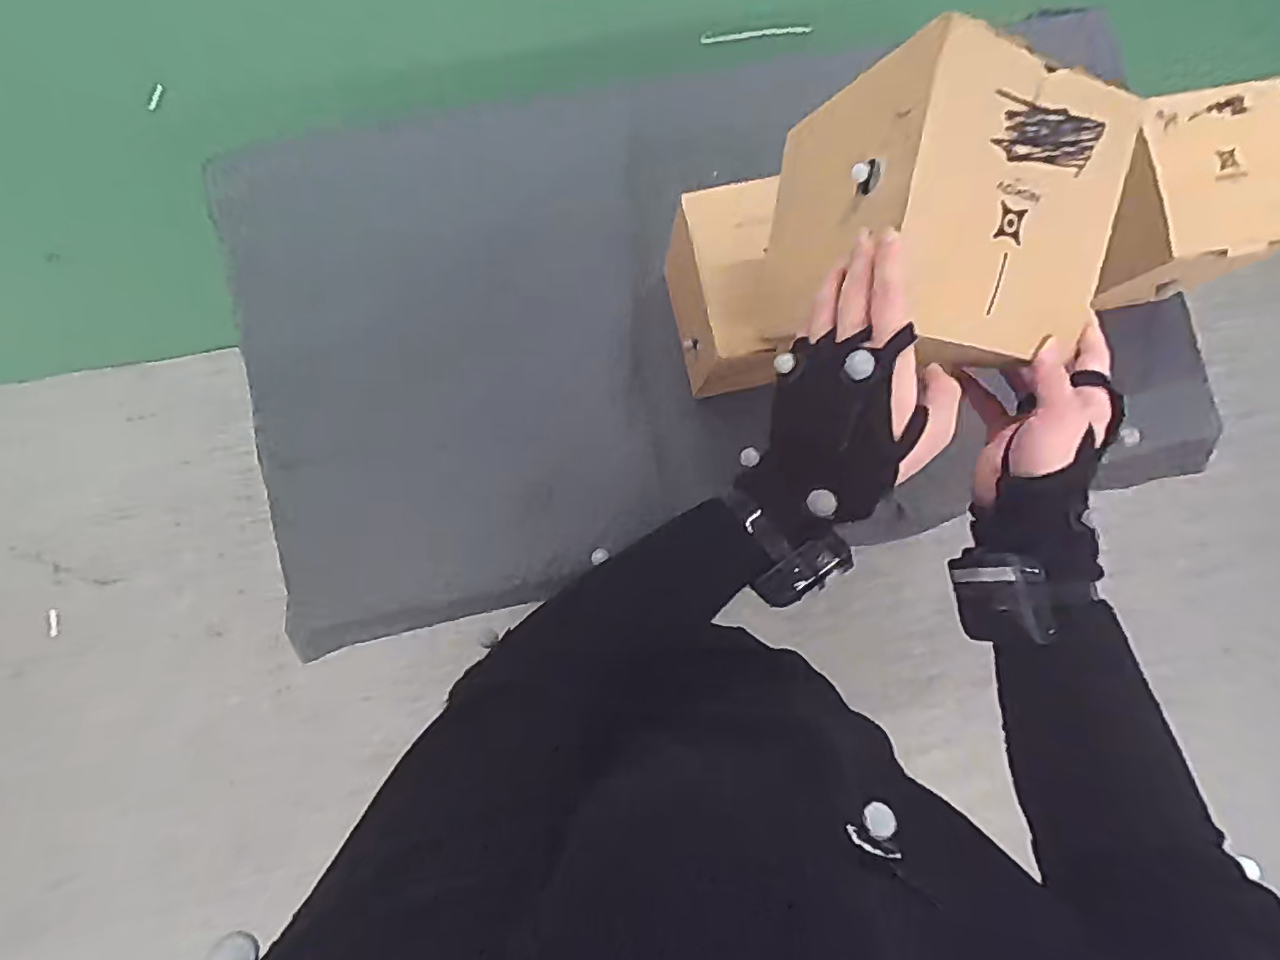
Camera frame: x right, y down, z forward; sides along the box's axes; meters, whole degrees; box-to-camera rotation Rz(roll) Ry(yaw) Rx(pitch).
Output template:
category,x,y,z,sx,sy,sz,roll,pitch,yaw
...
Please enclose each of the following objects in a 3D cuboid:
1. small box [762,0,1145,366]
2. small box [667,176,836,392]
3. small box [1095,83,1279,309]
category,x,y,z,sx,sy,sz,roll,pitch,yaw
small box,0.211,-0.188,0.408,0.168,0.176,0.179,6,98,-17
small box,0.134,-0.208,0.614,0.168,0.176,0.179,-13,84,-5
small box,0.608,-0.313,0.638,0.168,0.176,0.179,-10,86,-3
